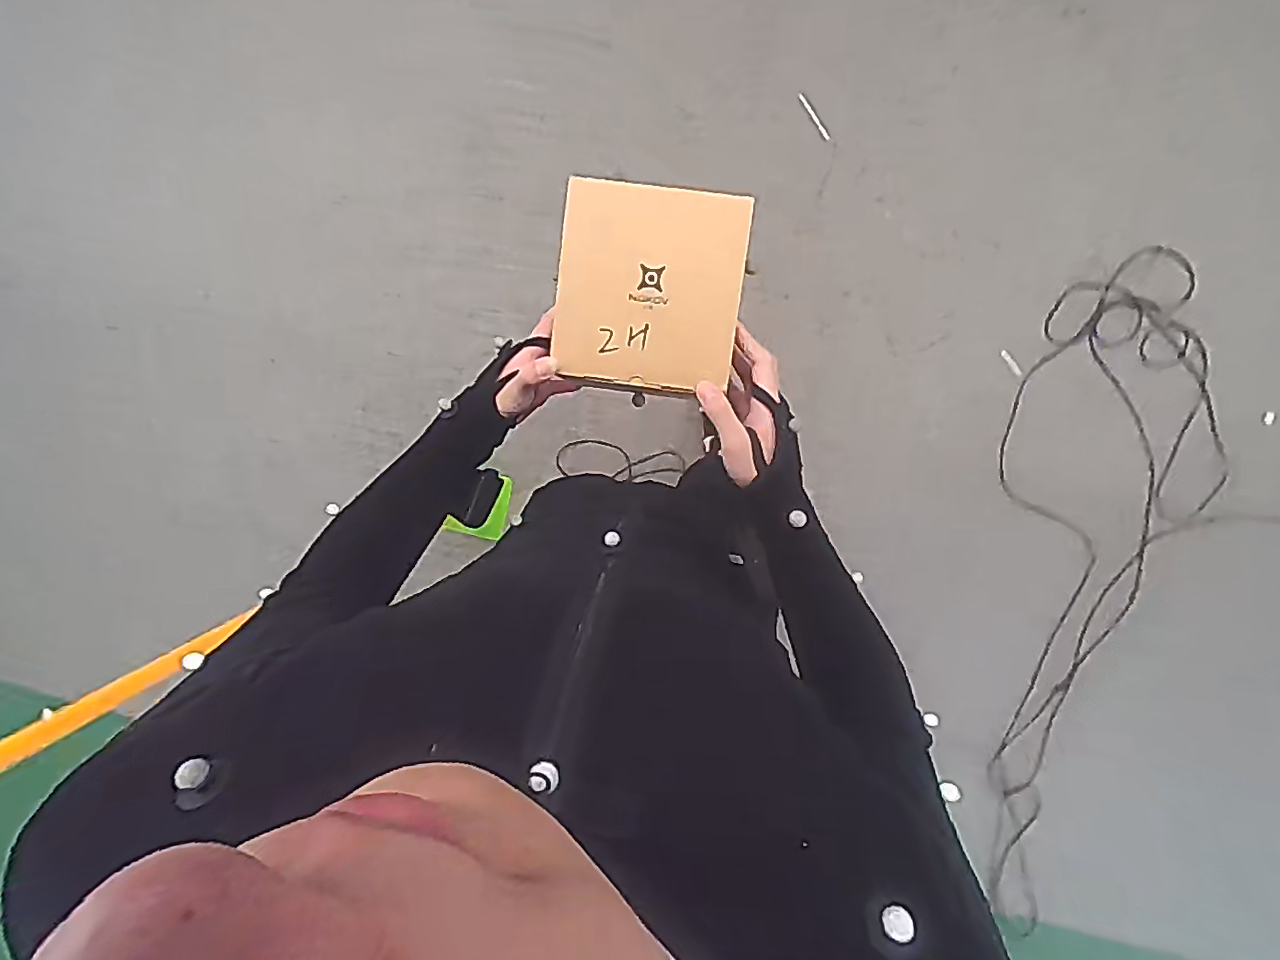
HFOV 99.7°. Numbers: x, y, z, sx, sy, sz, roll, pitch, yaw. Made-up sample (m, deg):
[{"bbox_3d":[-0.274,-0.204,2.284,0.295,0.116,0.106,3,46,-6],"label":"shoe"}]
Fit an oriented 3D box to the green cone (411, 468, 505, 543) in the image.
[{"bbox_3d":[-0.518,0.097,1.437,0.202,0.368,0.200,13,97,0],"label":"green cone"}]
